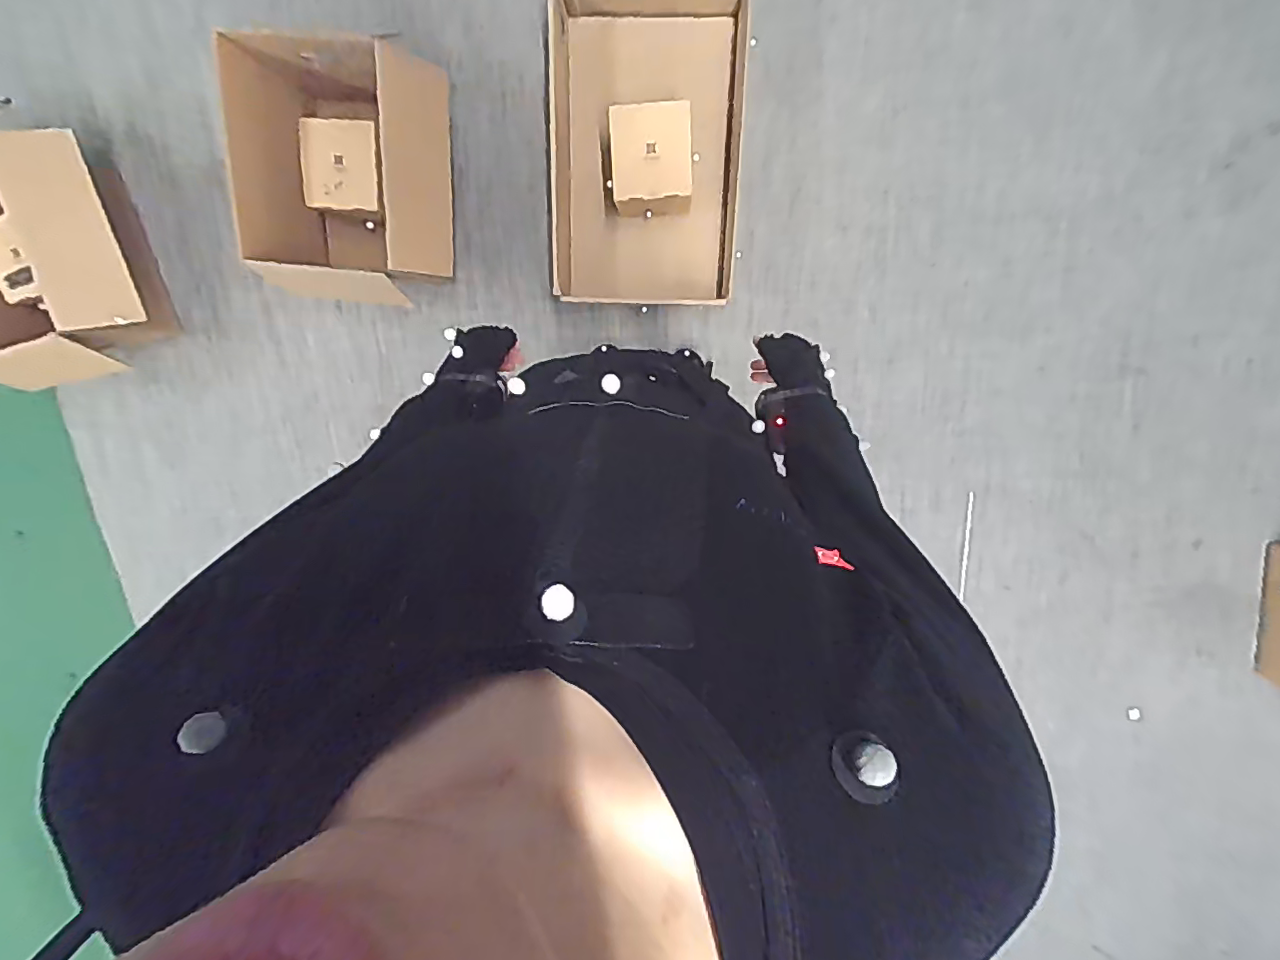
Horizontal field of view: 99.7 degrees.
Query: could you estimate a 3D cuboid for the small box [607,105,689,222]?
[{"bbox_3d":[0.019,-0.678,1.174,0.168,0.176,0.179,-2,104,3],"label":"small box"}]
